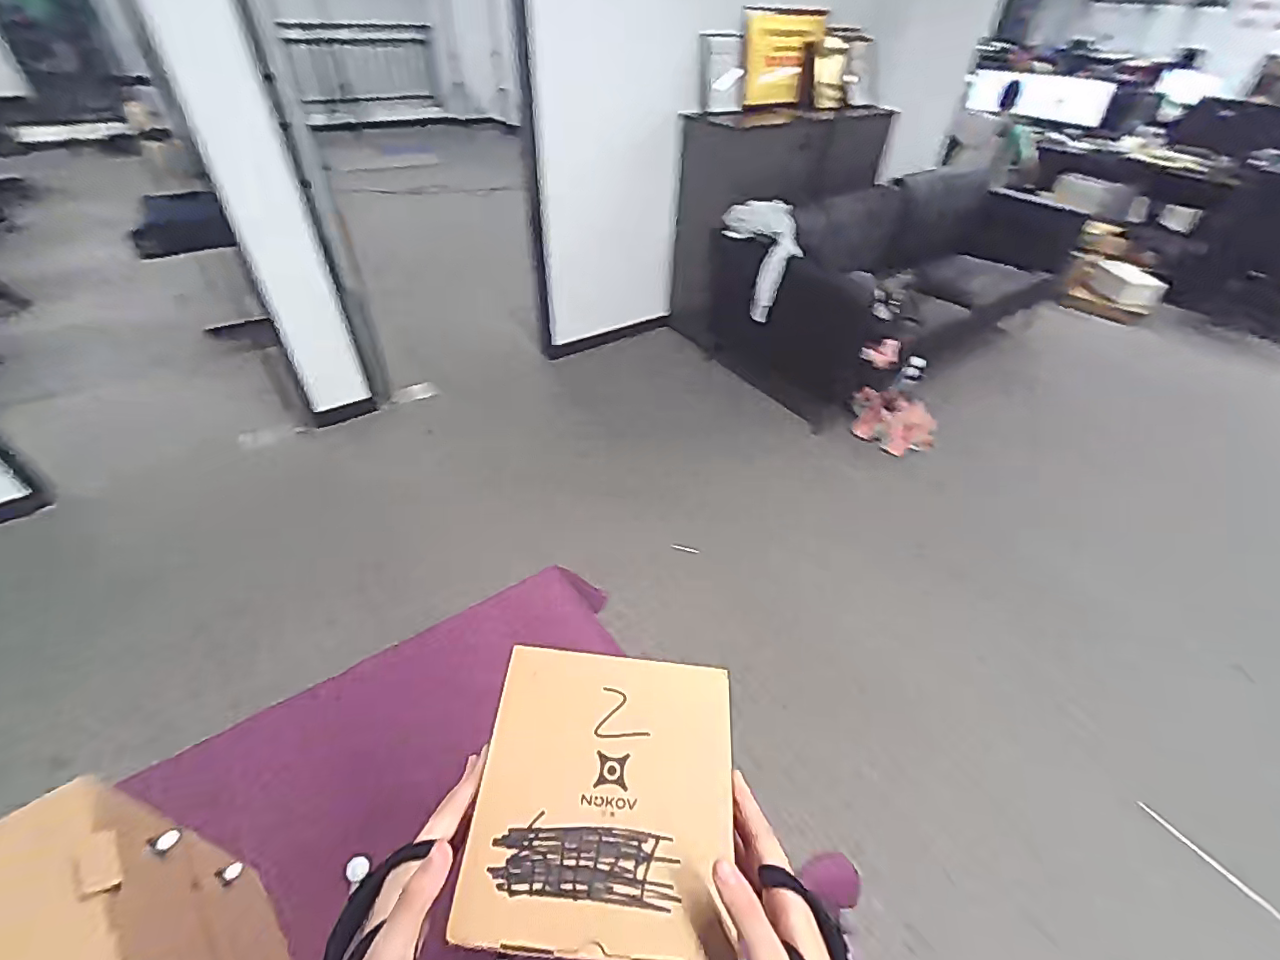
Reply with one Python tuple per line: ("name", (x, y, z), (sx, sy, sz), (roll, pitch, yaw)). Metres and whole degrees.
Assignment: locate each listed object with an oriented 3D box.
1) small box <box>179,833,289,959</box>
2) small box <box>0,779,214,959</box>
("small box", (-0.457, 0.489, 0.508), (0.168, 0.176, 0.179), (-32, 53, -32))
("small box", (-0.450, 0.372, 0.395), (0.179, 0.176, 0.168), (-30, 50, -30))
